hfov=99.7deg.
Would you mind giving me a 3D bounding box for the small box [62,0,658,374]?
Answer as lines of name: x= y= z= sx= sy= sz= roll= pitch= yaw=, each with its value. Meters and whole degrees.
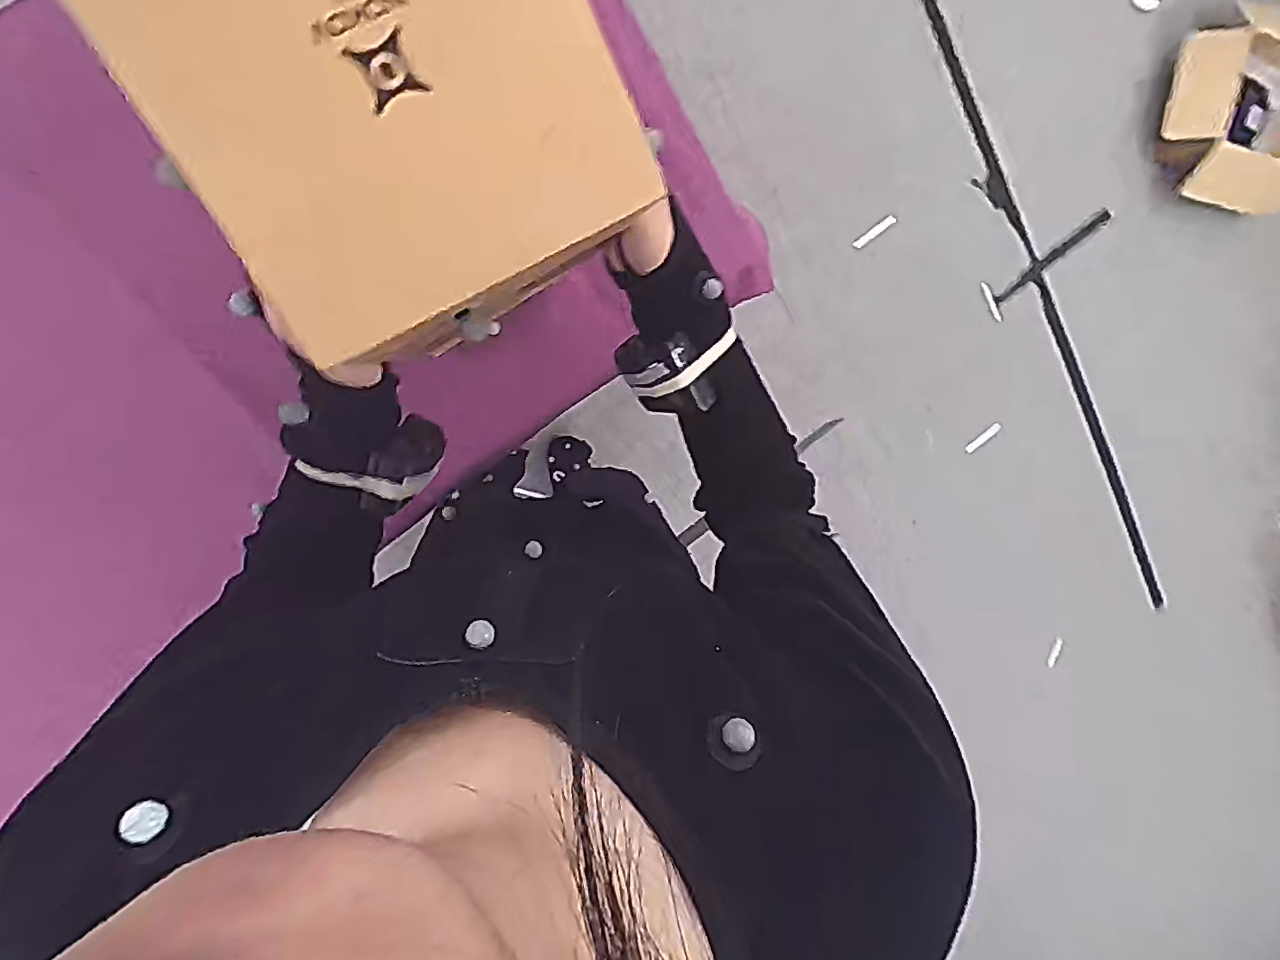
small box: x=-0.116 y=-0.172 z=0.276 sx=0.168 sy=0.176 sz=0.179 roll=-30 pitch=108 yaw=-7
